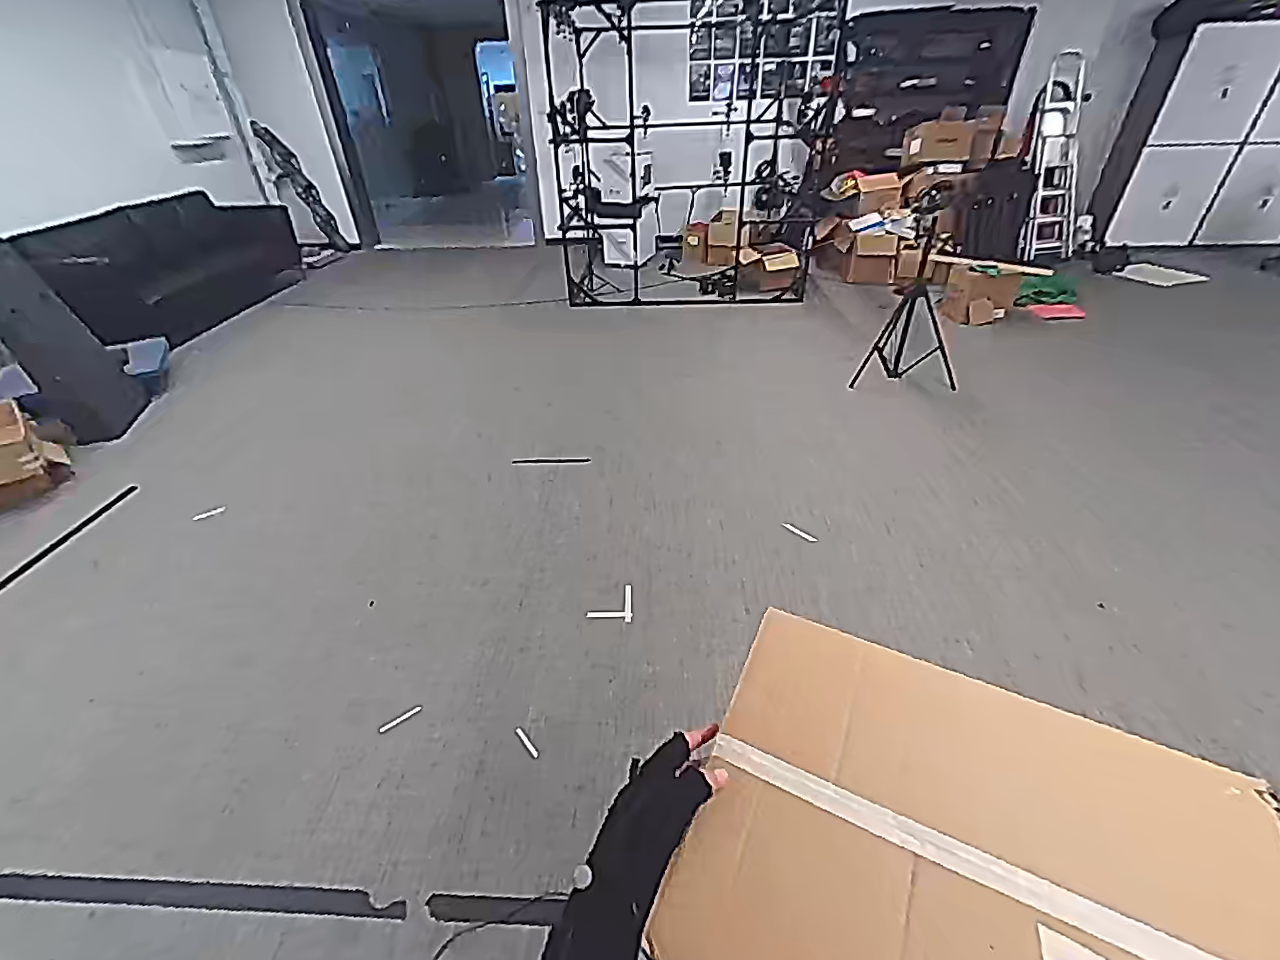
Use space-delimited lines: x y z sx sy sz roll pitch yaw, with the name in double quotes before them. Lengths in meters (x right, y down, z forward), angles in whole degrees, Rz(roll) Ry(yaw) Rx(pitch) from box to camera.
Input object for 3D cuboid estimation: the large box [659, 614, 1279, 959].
"large box" 0.264 0.398 0.525 0.408 0.320 0.320 17 49 22
